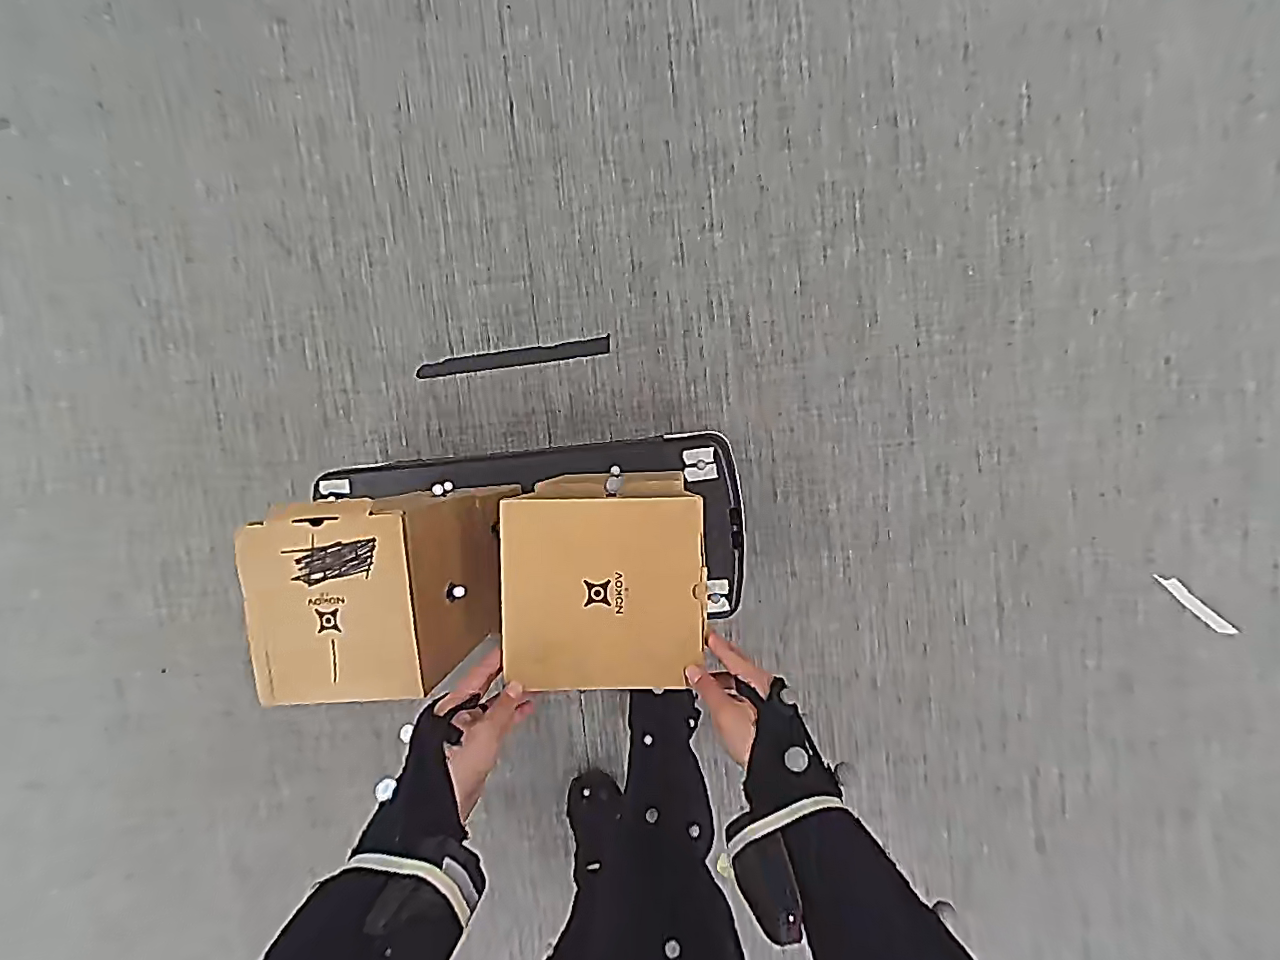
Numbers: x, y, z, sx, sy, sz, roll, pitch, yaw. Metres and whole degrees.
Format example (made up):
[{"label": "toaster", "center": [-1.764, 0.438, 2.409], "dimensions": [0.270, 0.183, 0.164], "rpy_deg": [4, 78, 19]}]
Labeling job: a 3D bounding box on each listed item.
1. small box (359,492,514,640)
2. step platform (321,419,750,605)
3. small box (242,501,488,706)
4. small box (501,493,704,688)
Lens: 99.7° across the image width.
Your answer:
[{"label": "small box", "center": [-0.259, 0.109, 0.741], "dimensions": [0.168, 0.176, 0.179], "rpy_deg": [-4, 94, 5]}, {"label": "step platform", "center": [-0.164, 0.071, 0.905], "dimensions": [0.684, 0.204, 0.286], "rpy_deg": [-6, 93, 6]}, {"label": "small box", "center": [-0.275, 0.117, 0.577], "dimensions": [0.168, 0.176, 0.179], "rpy_deg": [-4, 94, 5]}, {"label": "small box", "center": [-0.033, 0.098, 0.547], "dimensions": [0.179, 0.176, 0.168], "rpy_deg": [-1, 90, -2]}]
